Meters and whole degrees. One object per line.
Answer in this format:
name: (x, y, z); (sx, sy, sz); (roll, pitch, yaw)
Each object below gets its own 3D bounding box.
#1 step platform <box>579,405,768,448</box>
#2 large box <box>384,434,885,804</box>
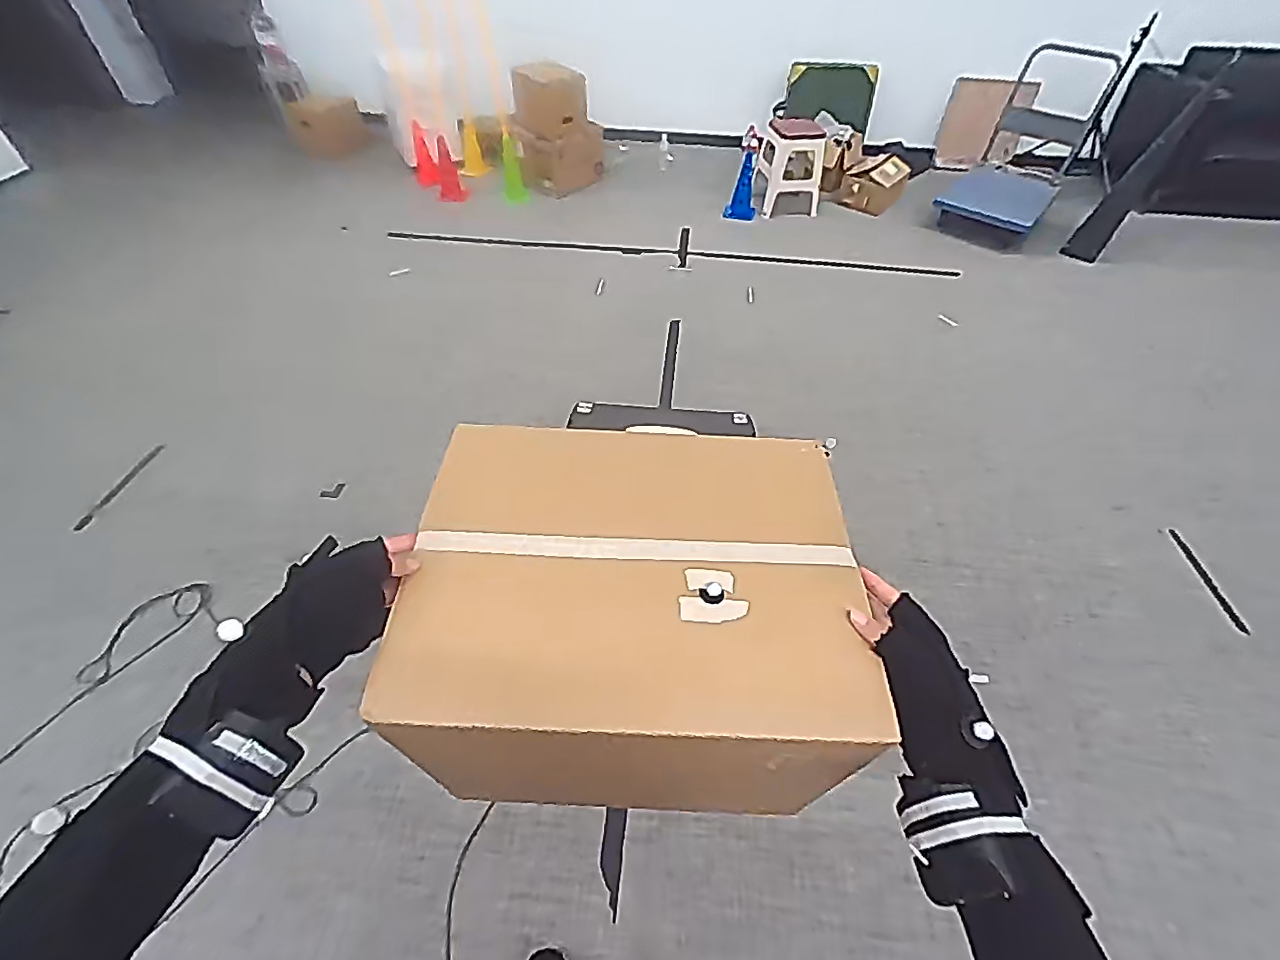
step platform: (0.116, -0.098, 1.962); (0.684, 0.204, 0.286); (4, 48, 0)
large box: (-0.007, 0.169, 0.628); (0.408, 0.320, 0.320); (3, 50, -1)
